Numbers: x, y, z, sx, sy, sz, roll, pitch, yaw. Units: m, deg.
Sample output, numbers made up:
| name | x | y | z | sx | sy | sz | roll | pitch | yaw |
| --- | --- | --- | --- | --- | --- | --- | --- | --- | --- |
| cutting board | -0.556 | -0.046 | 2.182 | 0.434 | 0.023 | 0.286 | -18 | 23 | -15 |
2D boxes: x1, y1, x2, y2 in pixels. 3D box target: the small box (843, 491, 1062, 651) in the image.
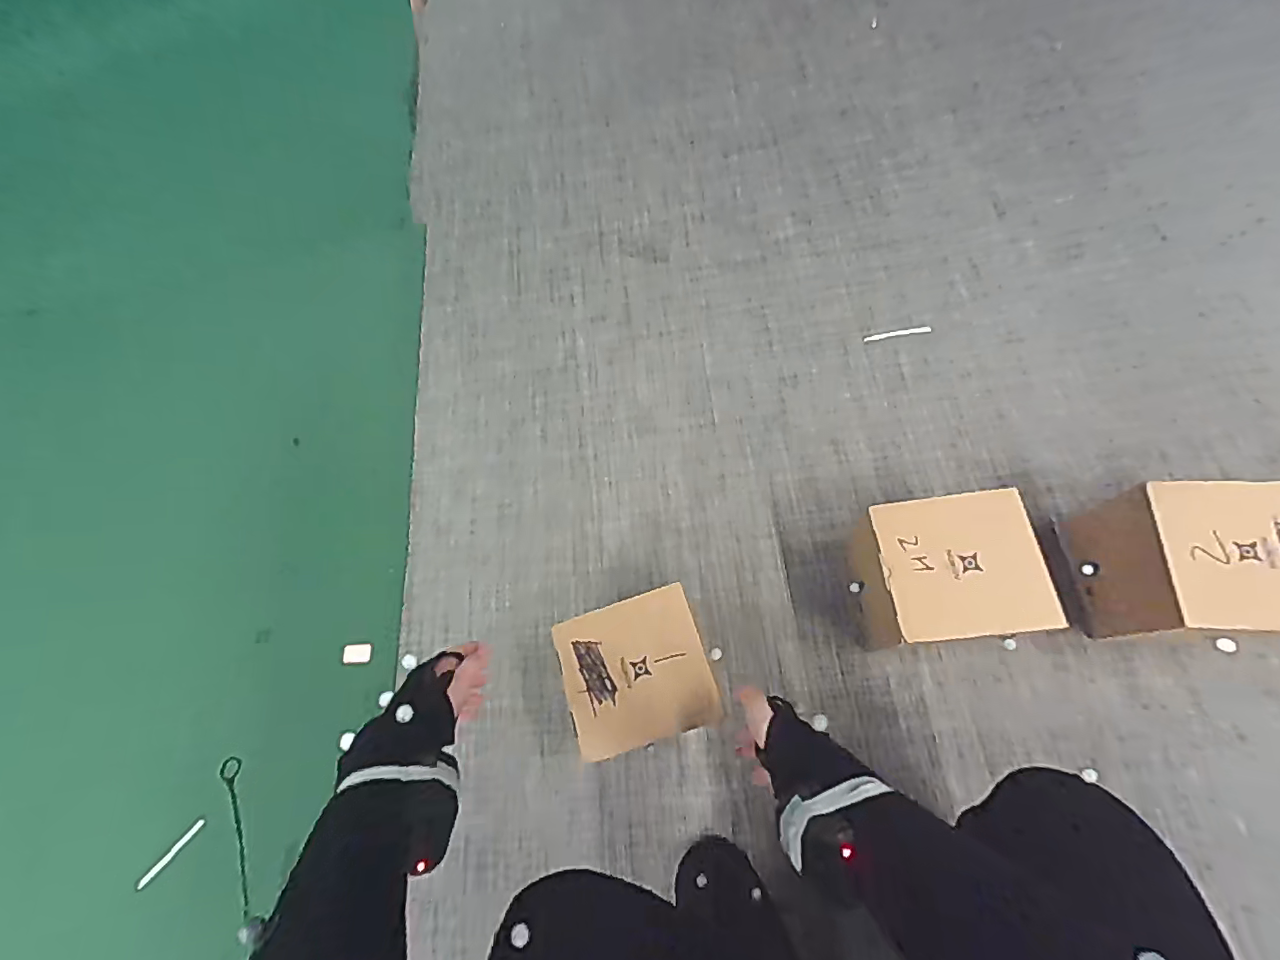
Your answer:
| name | x | y | z | sx | sy | sz | roll | pitch | yaw |
| --- | --- | --- | --- | --- | --- | --- | --- | --- | --- |
| small box | 0.380 | 0.125 | 0.697 | 0.179 | 0.176 | 0.168 | -8 | 68 | 7 |

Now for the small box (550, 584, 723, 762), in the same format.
| name | x | y | z | sx | sy | sz | roll | pitch | yaw |
| --- | --- | --- | --- | --- | --- | --- | --- | --- | --- |
| small box | 0.002 | 0.255 | 0.715 | 0.179 | 0.176 | 0.168 | -19 | 67 | 2 |
